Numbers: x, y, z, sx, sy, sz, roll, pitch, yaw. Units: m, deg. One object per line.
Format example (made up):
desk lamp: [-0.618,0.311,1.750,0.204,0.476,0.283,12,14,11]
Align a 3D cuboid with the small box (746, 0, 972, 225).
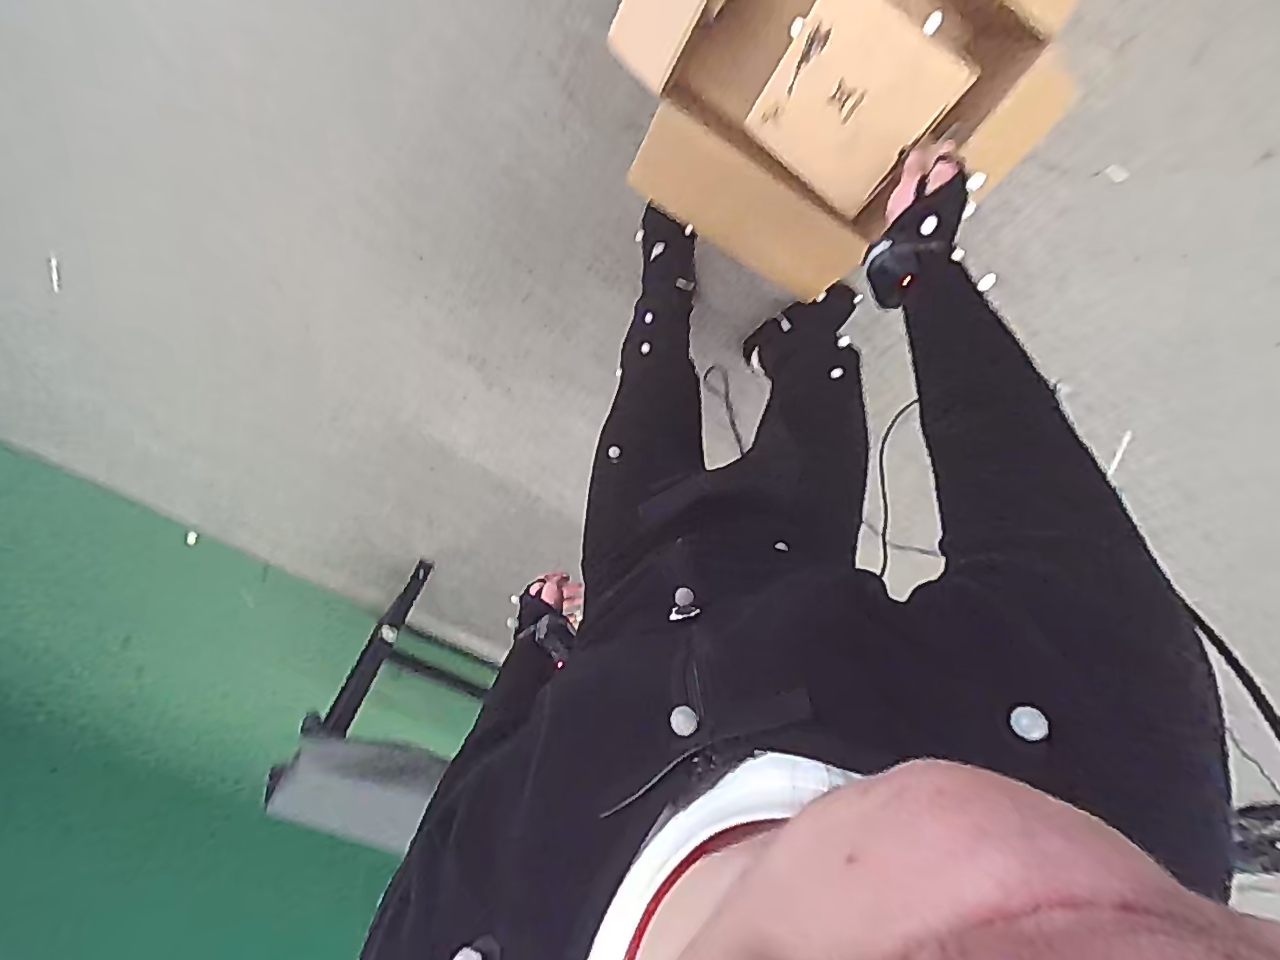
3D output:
small box: [0.264,-0.445,0.643,0.179,0.176,0.168,42,134,-1]
